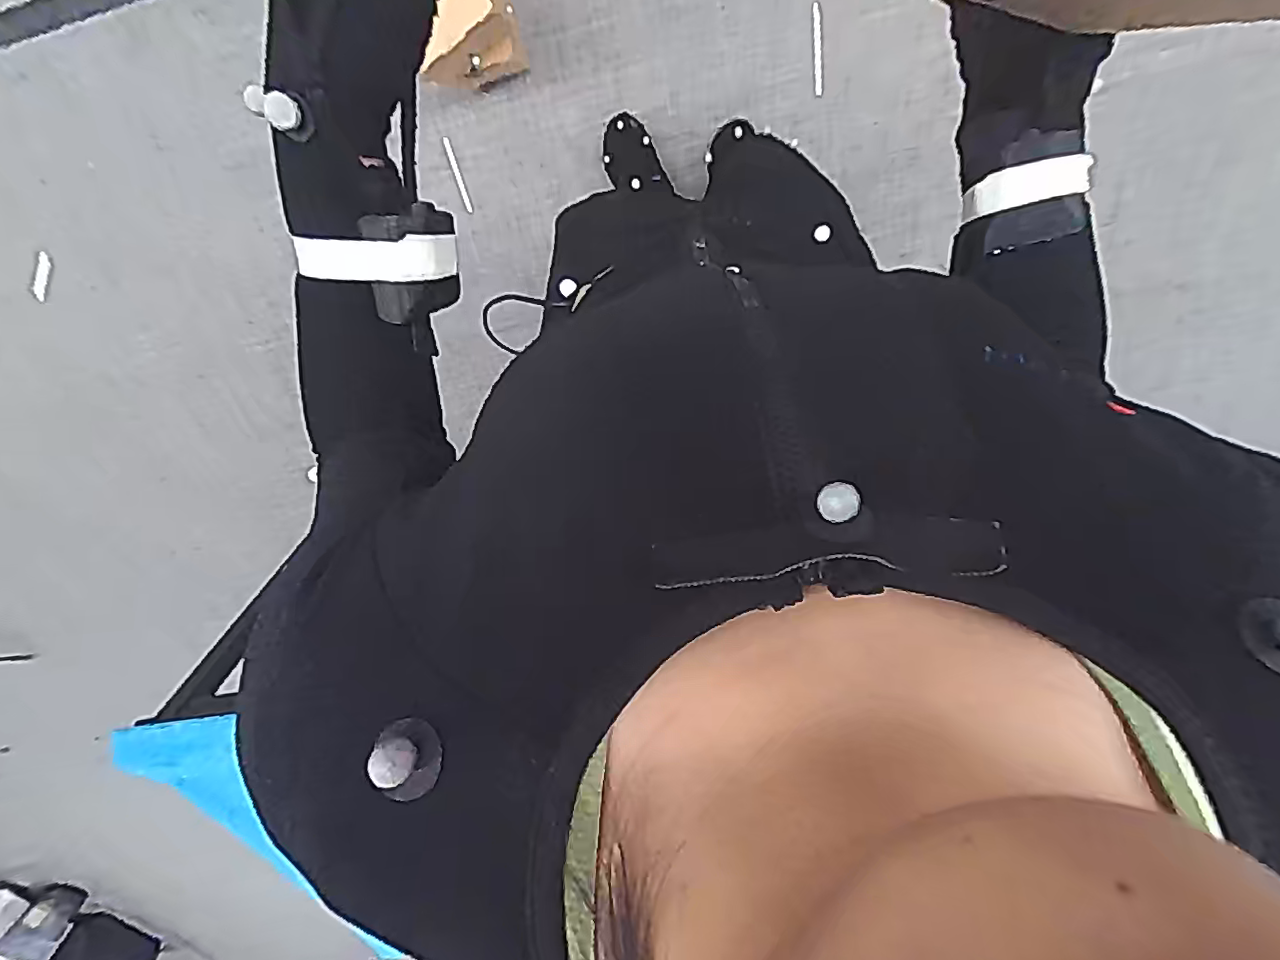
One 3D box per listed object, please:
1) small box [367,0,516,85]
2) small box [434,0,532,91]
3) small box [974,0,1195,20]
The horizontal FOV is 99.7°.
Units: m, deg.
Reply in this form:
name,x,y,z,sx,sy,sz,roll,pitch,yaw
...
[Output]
name,x,y,z,sx,sy,sz,roll,pitch,yaw
small box,-0.326,-0.776,0.873,0.168,0.176,0.179,-22,122,16
small box,-0.318,-0.856,1.018,0.168,0.176,0.179,-12,121,8
small box,0.186,-0.294,0.198,0.179,0.176,0.168,9,127,-4
